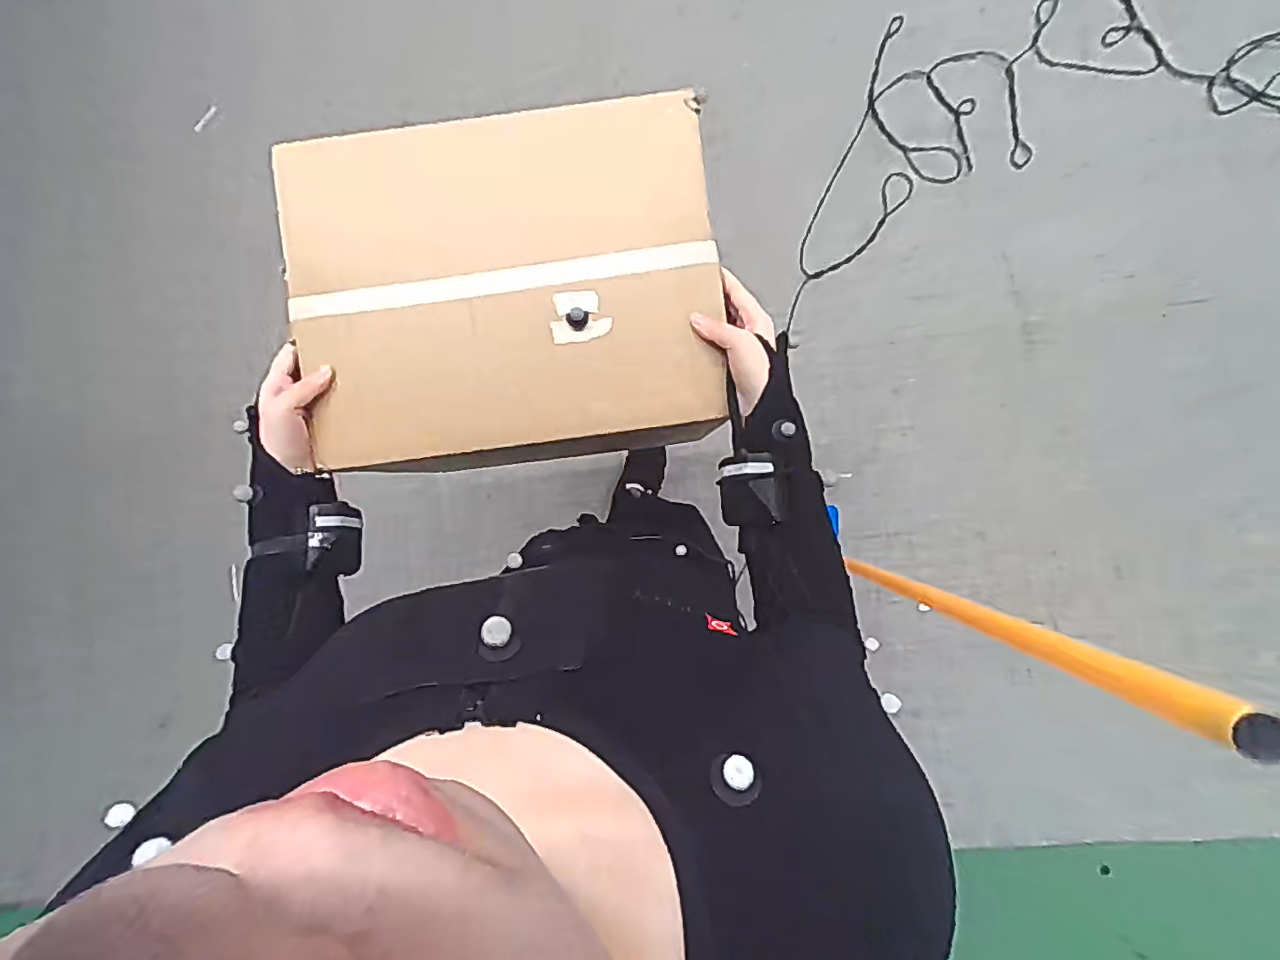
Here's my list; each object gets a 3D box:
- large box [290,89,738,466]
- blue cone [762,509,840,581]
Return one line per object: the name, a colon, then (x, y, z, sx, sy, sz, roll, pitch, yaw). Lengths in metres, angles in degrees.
large box: (-0.125, -0.200, 0.667, 0.408, 0.320, 0.320, -7, 91, -1)
blue cone: (0.408, 0.172, 1.284, 0.193, 0.380, 0.192, 2, 90, 6)
